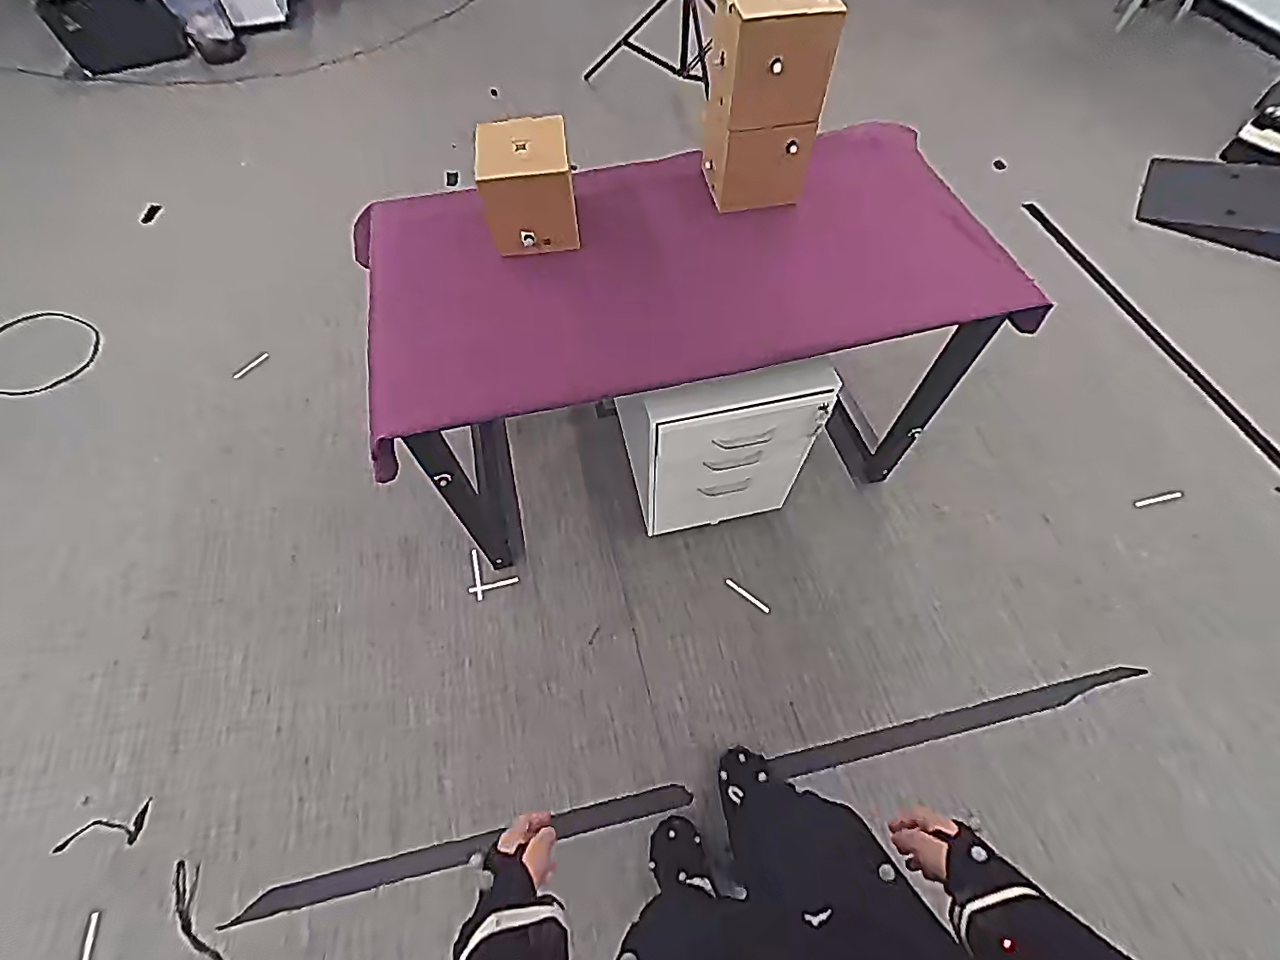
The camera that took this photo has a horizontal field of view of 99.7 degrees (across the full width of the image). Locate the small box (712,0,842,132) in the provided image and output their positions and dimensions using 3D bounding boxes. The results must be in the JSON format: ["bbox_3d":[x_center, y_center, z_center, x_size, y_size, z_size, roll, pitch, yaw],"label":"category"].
[{"bbox_3d":[0.230,-0.751,0.964,0.179,0.176,0.168,-9,62,-3],"label":"small box"}]

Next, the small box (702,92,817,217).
[{"bbox_3d":[0.234,-0.670,1.107,0.179,0.176,0.168,-10,61,-4],"label":"small box"}]

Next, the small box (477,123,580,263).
[{"bbox_3d":[-0.212,-0.554,1.052,0.168,0.176,0.179,-8,63,-2],"label":"small box"}]
